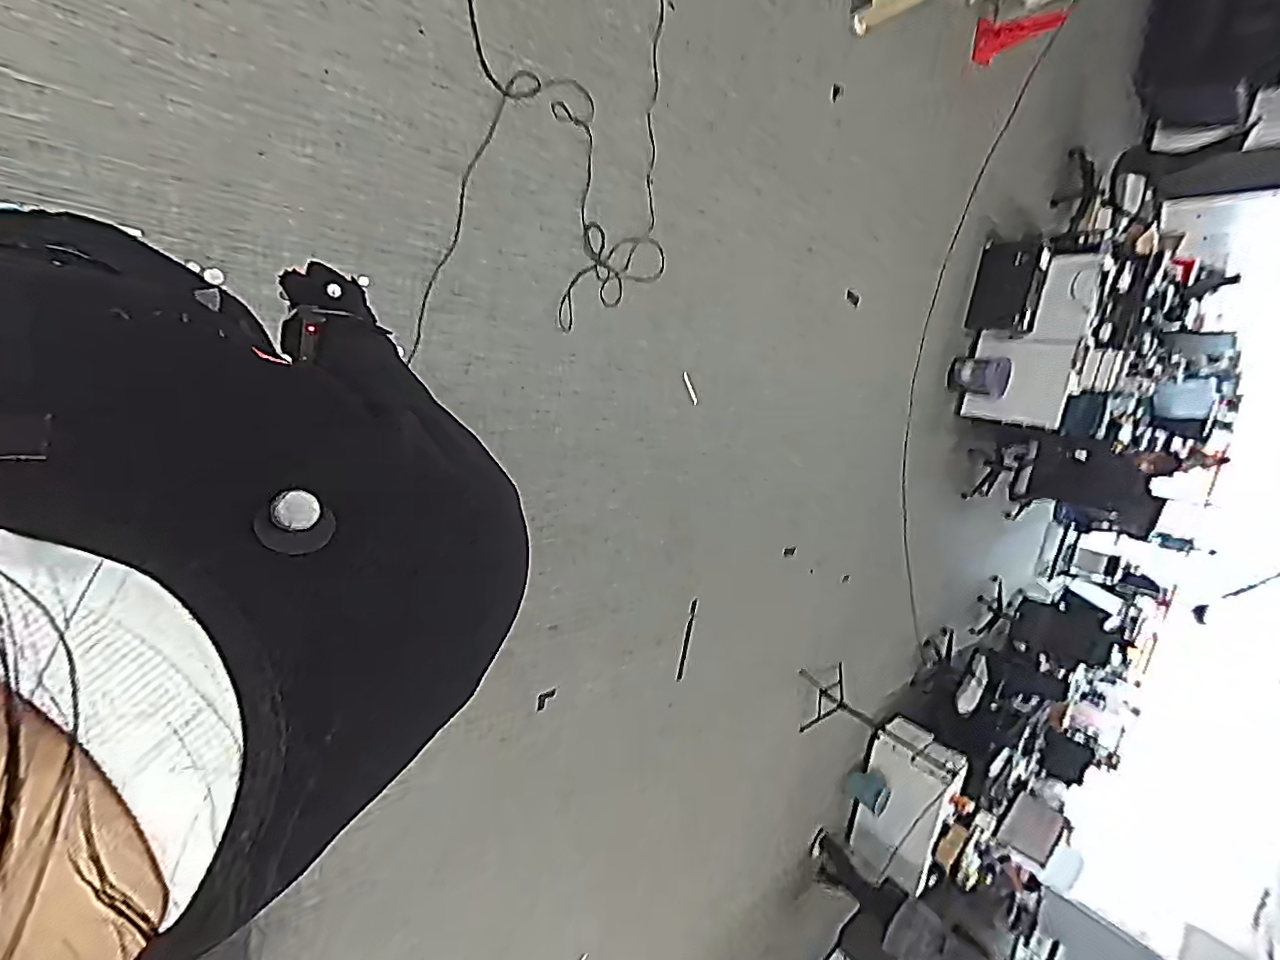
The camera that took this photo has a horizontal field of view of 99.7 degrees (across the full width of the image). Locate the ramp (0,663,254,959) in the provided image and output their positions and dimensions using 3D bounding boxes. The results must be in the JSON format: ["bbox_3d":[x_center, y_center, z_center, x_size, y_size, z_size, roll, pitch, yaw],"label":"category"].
[{"bbox_3d":[-1.154,0.935,1.177,0.509,0.206,0.991,0,104,-41],"label":"ramp"}]
